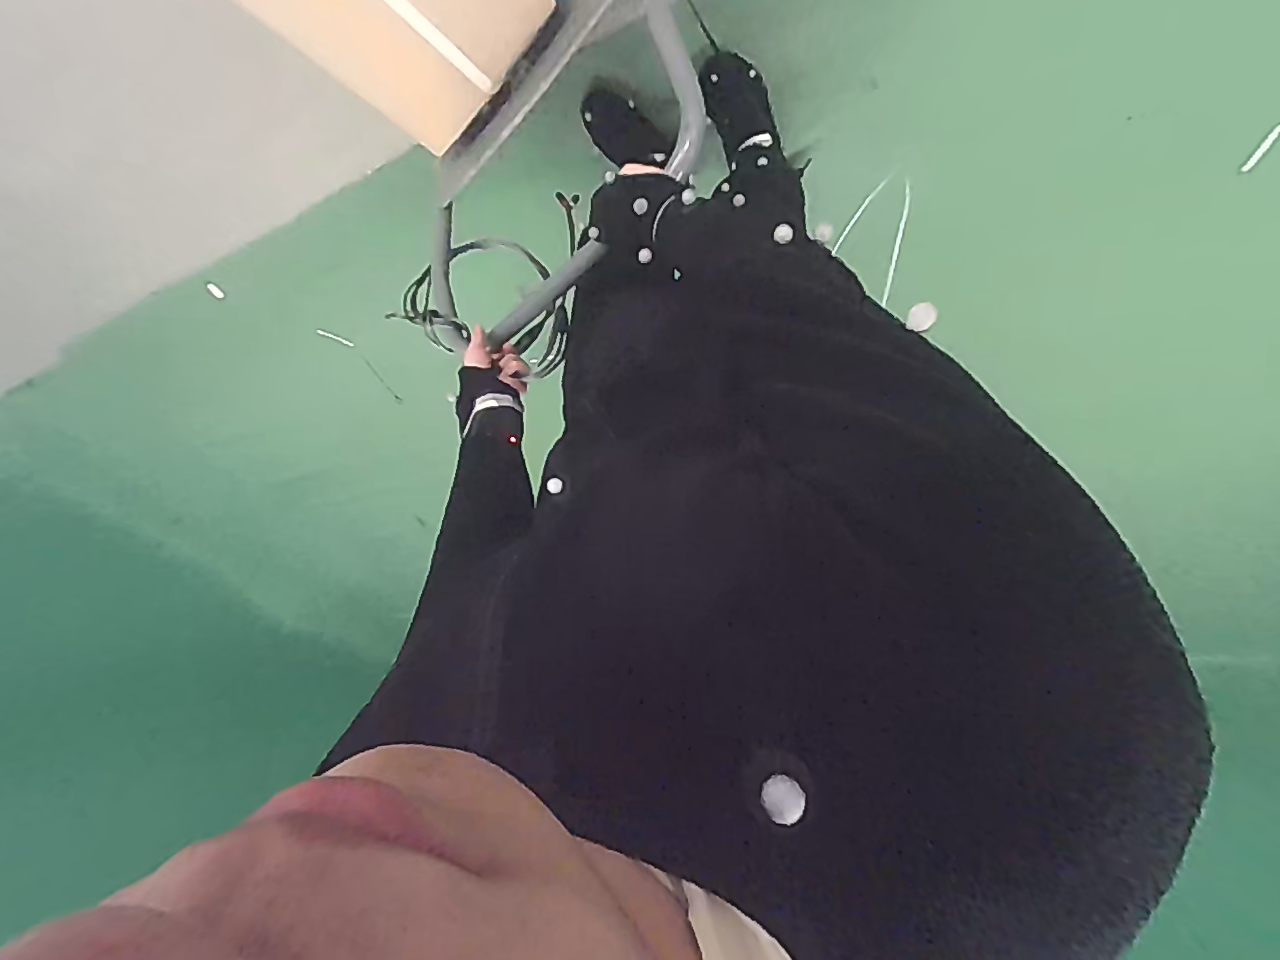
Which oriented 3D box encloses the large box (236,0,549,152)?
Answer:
[{"bbox_3d":[-0.372,-0.797,0.770,0.320,0.320,0.408,-26,145,34],"label":"large box"}]
